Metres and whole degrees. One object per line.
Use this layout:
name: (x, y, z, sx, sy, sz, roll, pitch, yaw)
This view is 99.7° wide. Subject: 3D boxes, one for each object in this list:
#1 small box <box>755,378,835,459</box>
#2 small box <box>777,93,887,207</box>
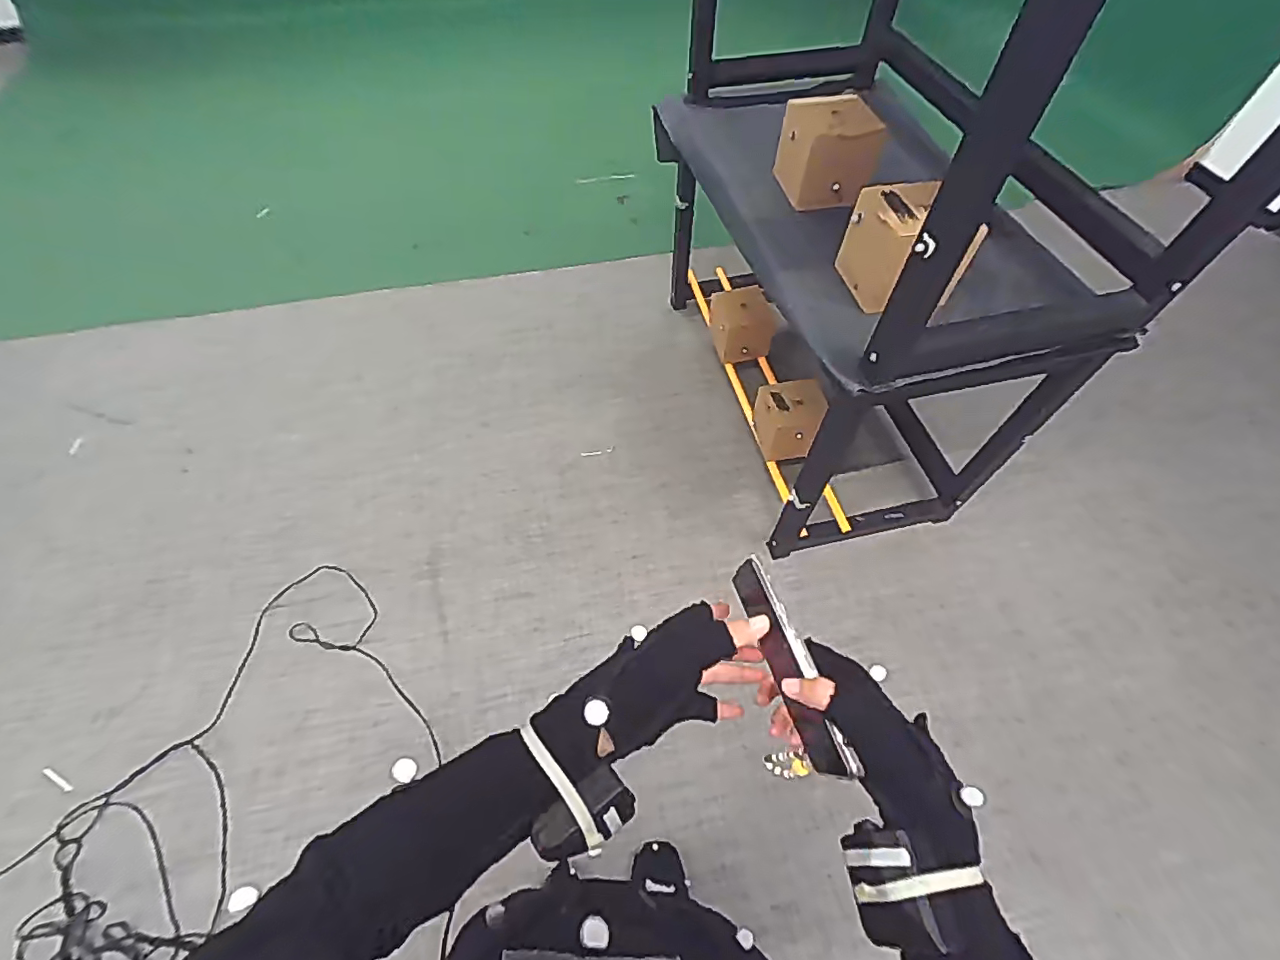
small box: (0.453, -0.180, 1.617, 0.179, 0.176, 0.168, -8, 57, -5)
small box: (0.432, -0.763, 1.253, 0.168, 0.176, 0.179, -8, 57, -5)
